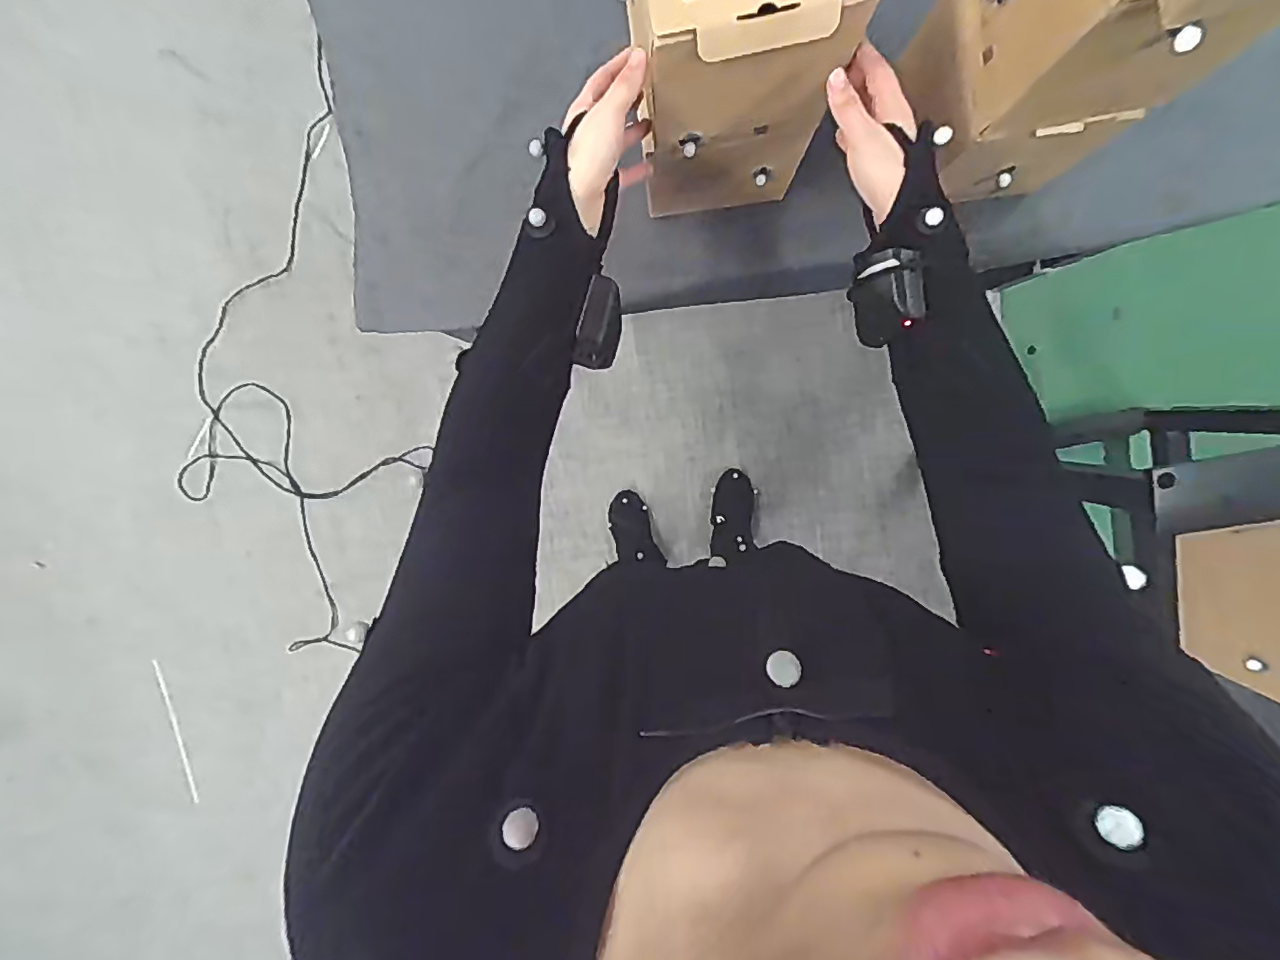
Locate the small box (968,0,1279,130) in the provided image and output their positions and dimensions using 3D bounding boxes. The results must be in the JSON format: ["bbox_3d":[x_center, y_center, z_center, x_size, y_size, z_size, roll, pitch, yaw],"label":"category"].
[{"bbox_3d":[0.396,-0.417,0.429,0.179,0.176,0.168,-8,95,5],"label":"small box"}]

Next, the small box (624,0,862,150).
[{"bbox_3d":[0.072,-0.409,0.451,0.168,0.176,0.179,-11,92,4],"label":"small box"}]

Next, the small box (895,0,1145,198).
[{"bbox_3d":[0.397,-0.431,0.592,0.168,0.176,0.179,-6,95,5],"label":"small box"}]

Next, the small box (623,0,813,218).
[{"bbox_3d":[0.083,-0.422,0.615,0.179,0.176,0.168,-7,94,5],"label":"small box"}]
